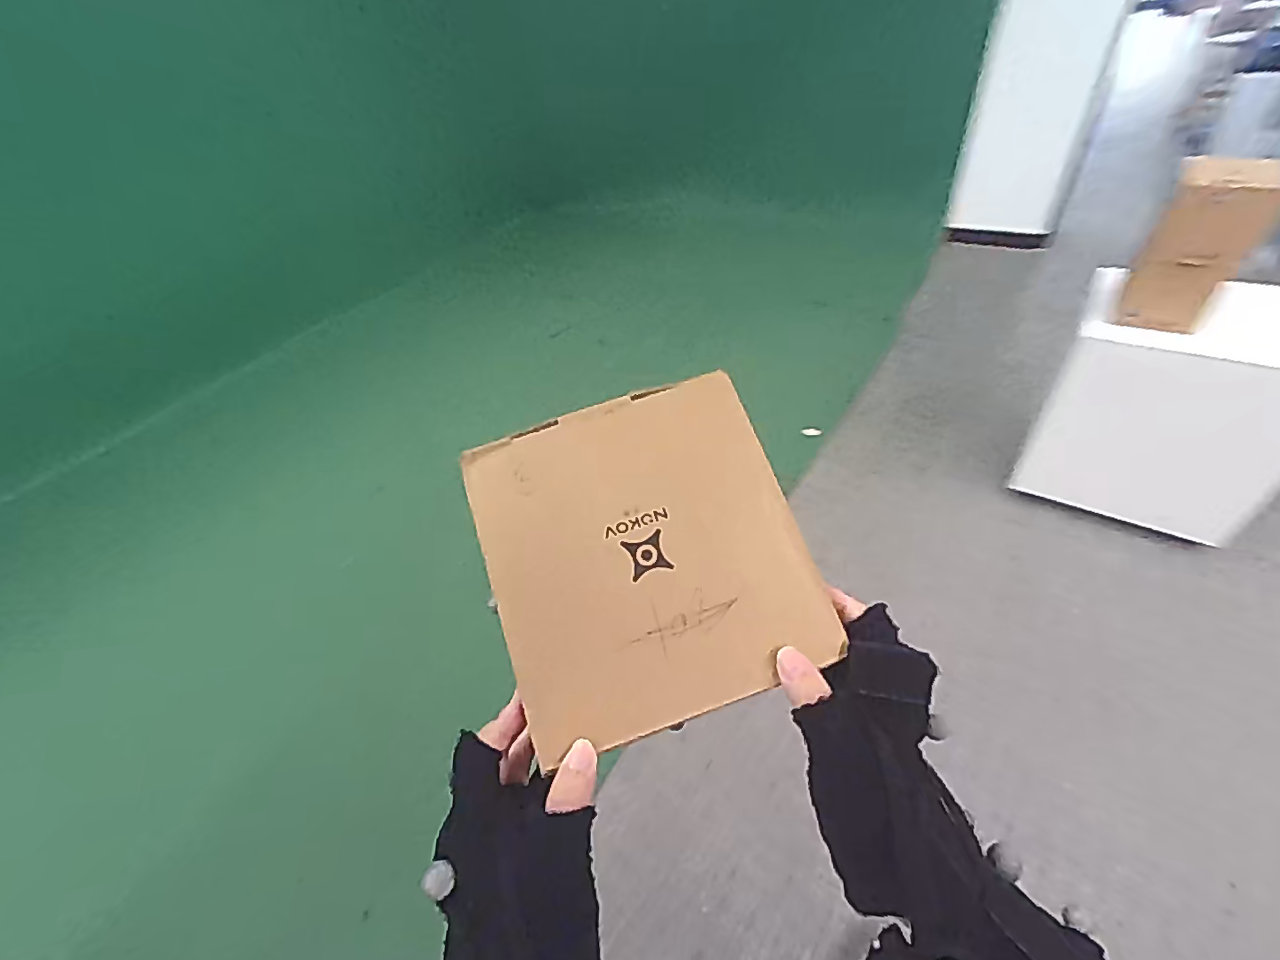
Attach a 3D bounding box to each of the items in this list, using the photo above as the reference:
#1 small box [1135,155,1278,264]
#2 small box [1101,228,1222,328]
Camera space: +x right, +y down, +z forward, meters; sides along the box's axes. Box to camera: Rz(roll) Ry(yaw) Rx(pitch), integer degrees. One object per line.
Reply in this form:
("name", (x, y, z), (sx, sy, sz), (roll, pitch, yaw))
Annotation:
("small box", (1.254, -0.608, 1.212), (0.168, 0.176, 0.179), (19, 52, 27))
("small box", (1.273, -0.495, 1.328), (0.168, 0.176, 0.179), (19, 52, 27))
